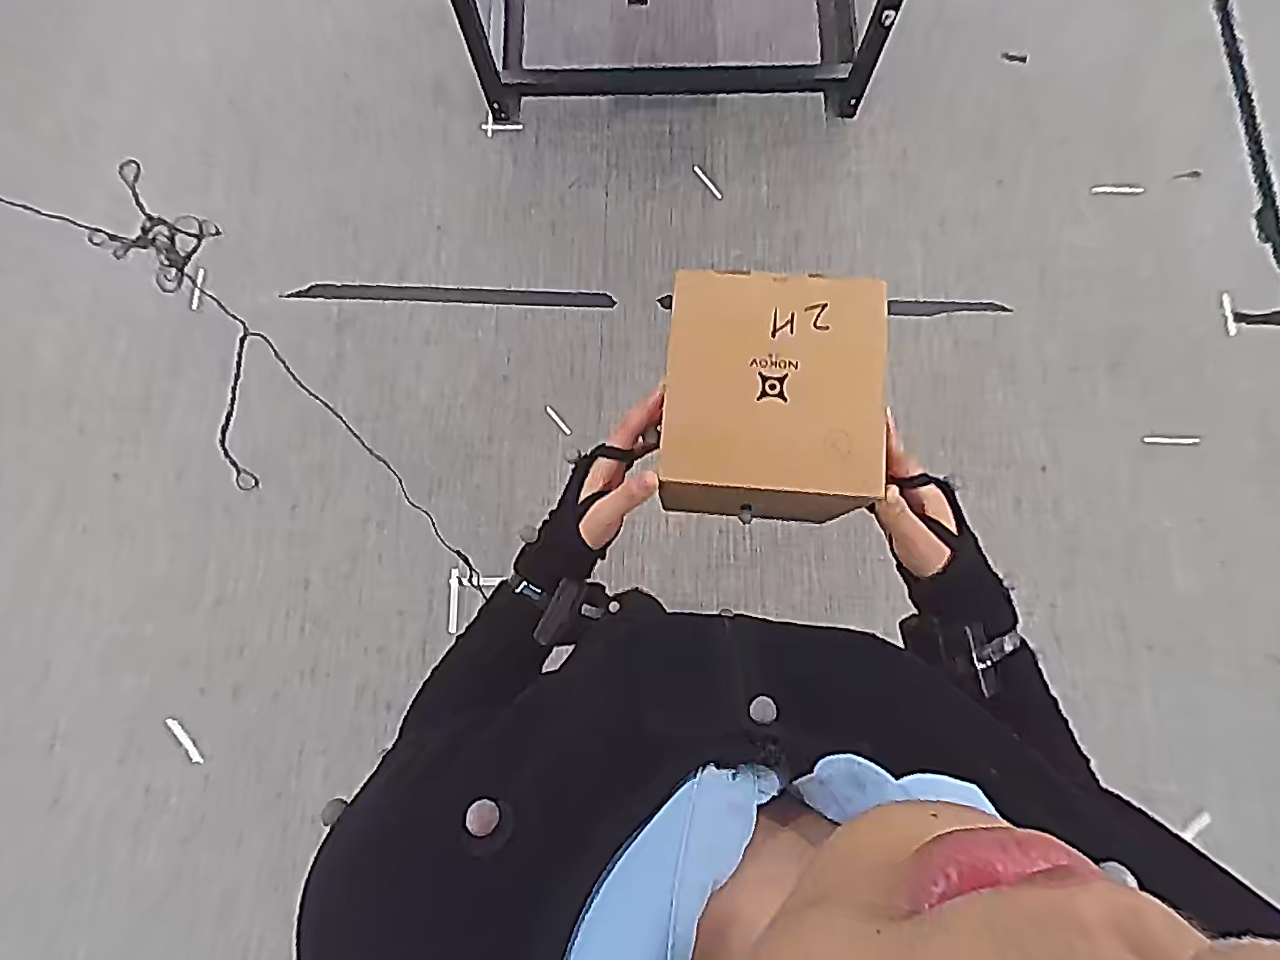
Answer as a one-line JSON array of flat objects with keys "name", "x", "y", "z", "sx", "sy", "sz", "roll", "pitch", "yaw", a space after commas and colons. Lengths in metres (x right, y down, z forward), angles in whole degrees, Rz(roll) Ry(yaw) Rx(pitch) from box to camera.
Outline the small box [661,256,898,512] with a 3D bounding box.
[{"name": "small box", "x": 0.111, "y": -0.070, "z": 0.478, "sx": 0.168, "sy": 0.176, "sz": 0.179, "roll": 5, "pitch": 79, "yaw": 5}]
